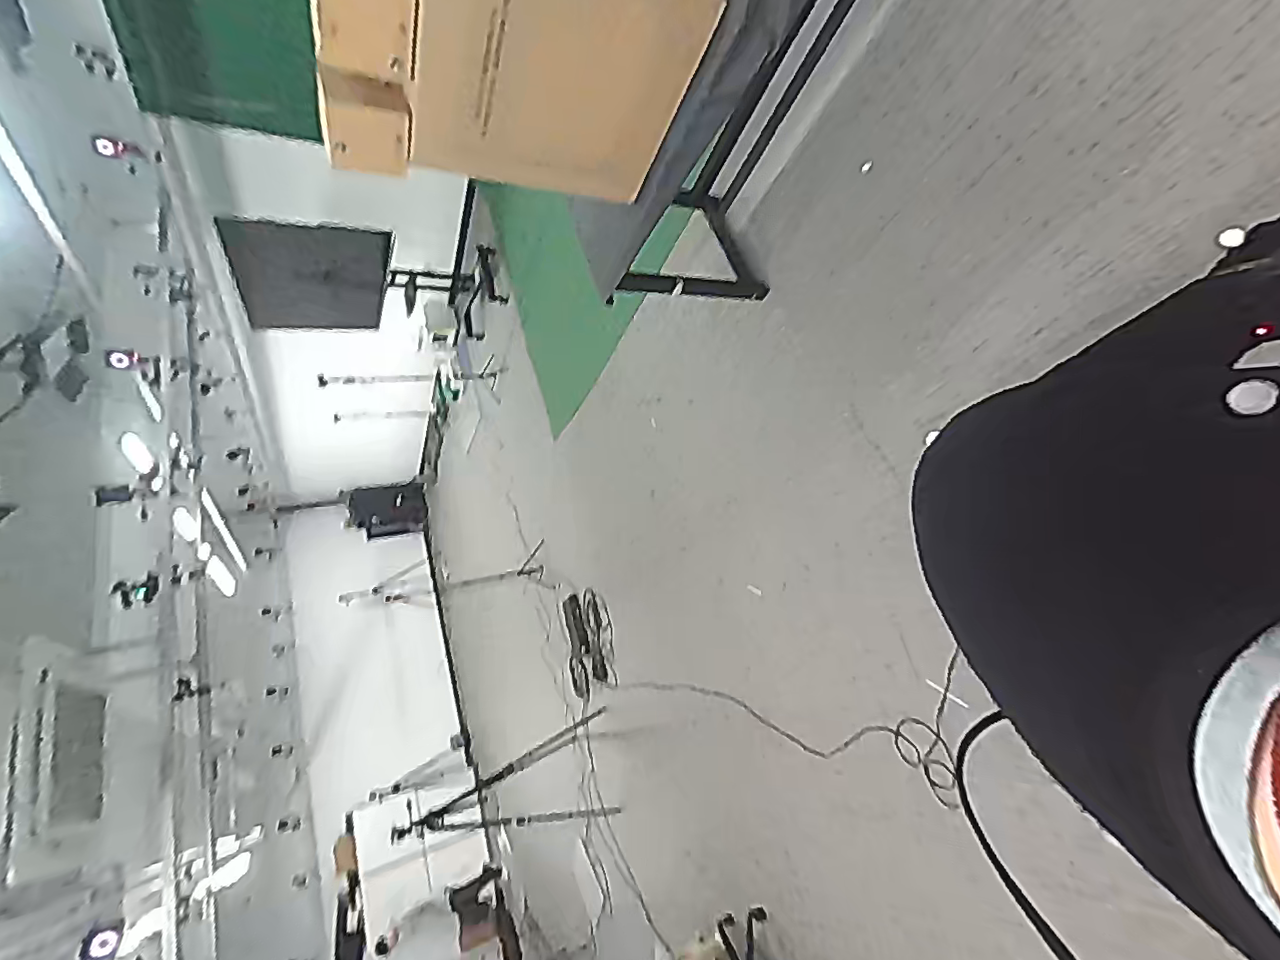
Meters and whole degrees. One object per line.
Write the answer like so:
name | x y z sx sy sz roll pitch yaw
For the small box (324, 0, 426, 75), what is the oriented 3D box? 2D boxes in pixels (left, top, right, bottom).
small box | -0.531 -0.951 1.078 0.168 0.176 0.179 -46 55 53

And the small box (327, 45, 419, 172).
small box | -0.619 -0.851 1.257 0.168 0.176 0.179 -47 55 57
